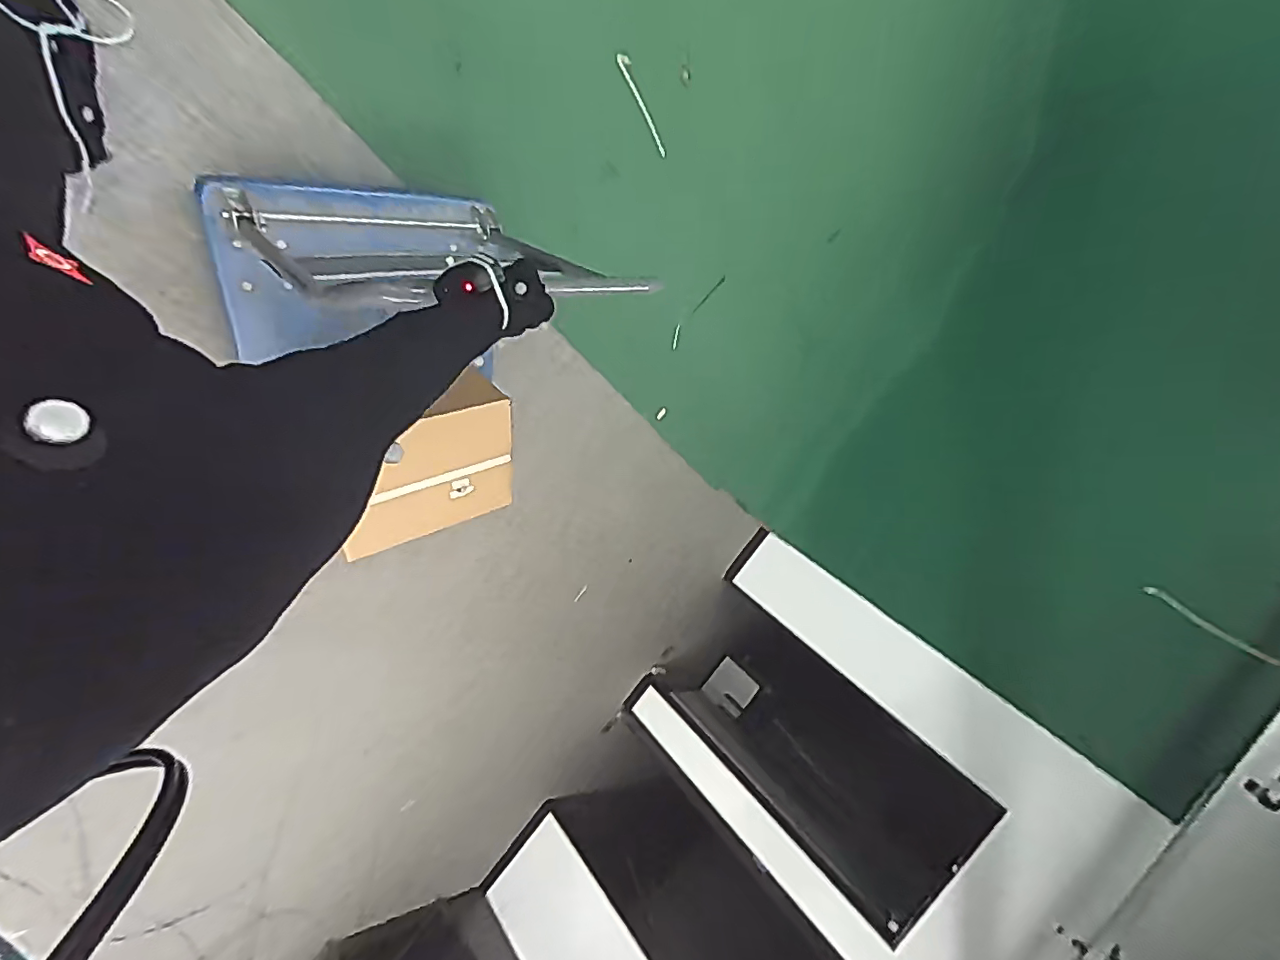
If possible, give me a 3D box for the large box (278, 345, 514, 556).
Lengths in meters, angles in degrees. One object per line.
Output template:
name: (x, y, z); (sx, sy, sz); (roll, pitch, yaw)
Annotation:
large box: (-0.558, -0.093, 1.287); (0.408, 0.320, 0.320); (-23, 138, -37)
